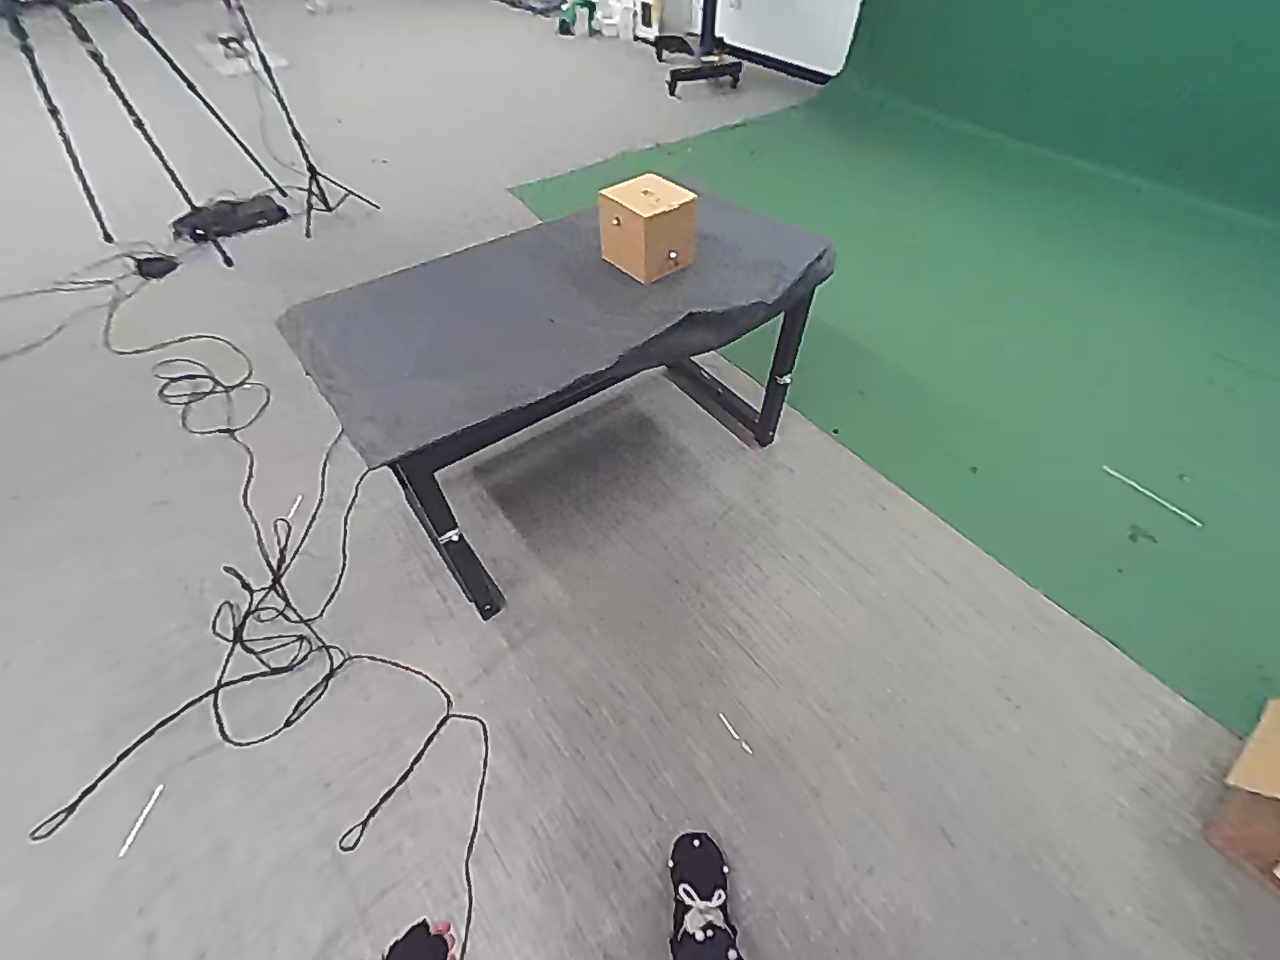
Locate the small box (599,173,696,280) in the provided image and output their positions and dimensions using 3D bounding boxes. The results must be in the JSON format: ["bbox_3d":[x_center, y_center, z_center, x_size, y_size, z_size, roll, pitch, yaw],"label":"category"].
[{"bbox_3d":[0.015,-0.622,1.332,0.168,0.176,0.179,-33,59,-23],"label":"small box"}]
